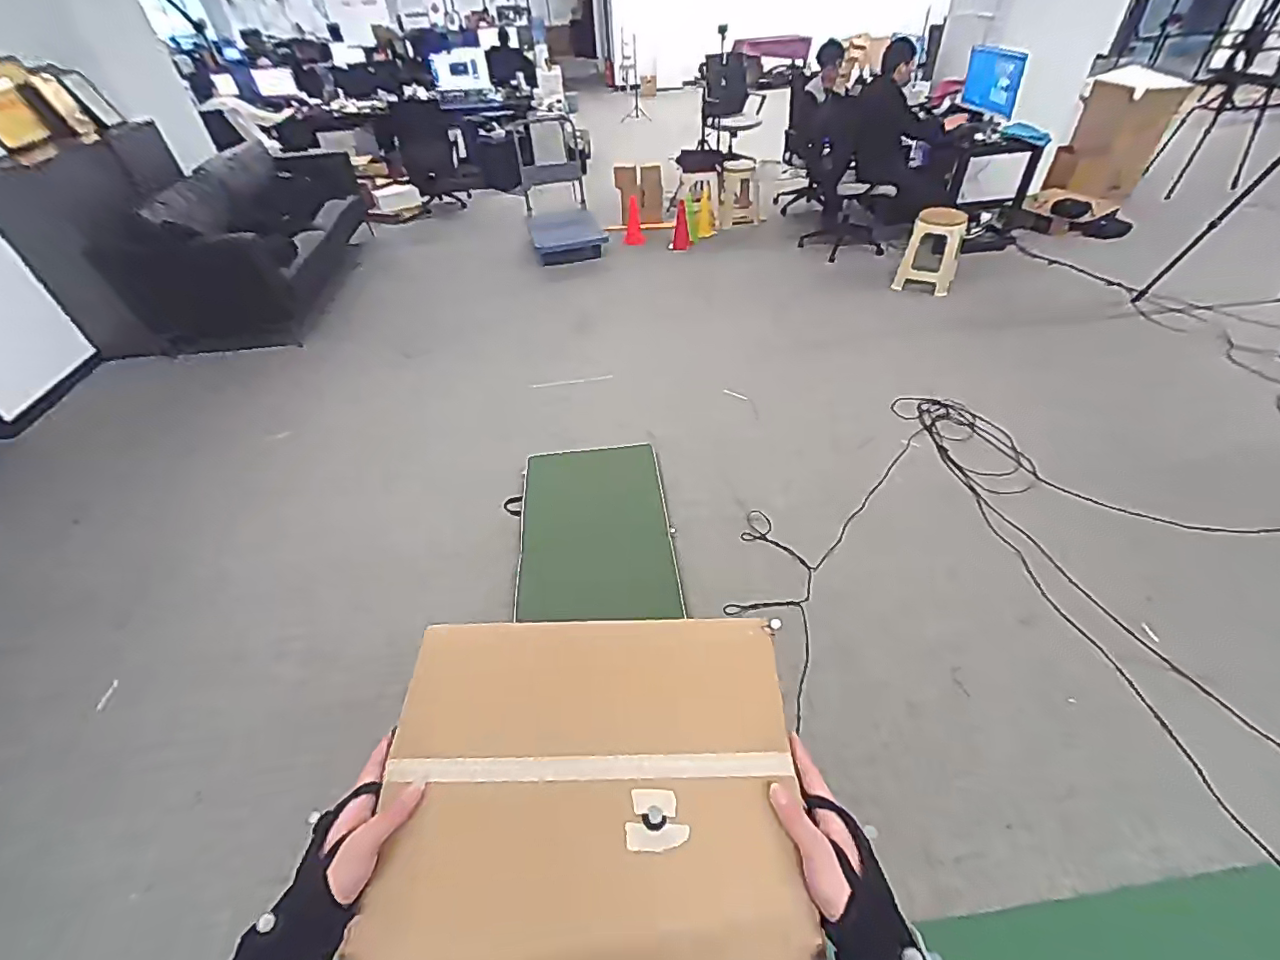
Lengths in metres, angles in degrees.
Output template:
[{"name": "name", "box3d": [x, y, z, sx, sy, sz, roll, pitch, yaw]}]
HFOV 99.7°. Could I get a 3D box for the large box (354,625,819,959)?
[{"name": "large box", "box3d": [-0.045, 0.393, 0.660, 0.408, 0.320, 0.320, -2, 50, 2]}]
